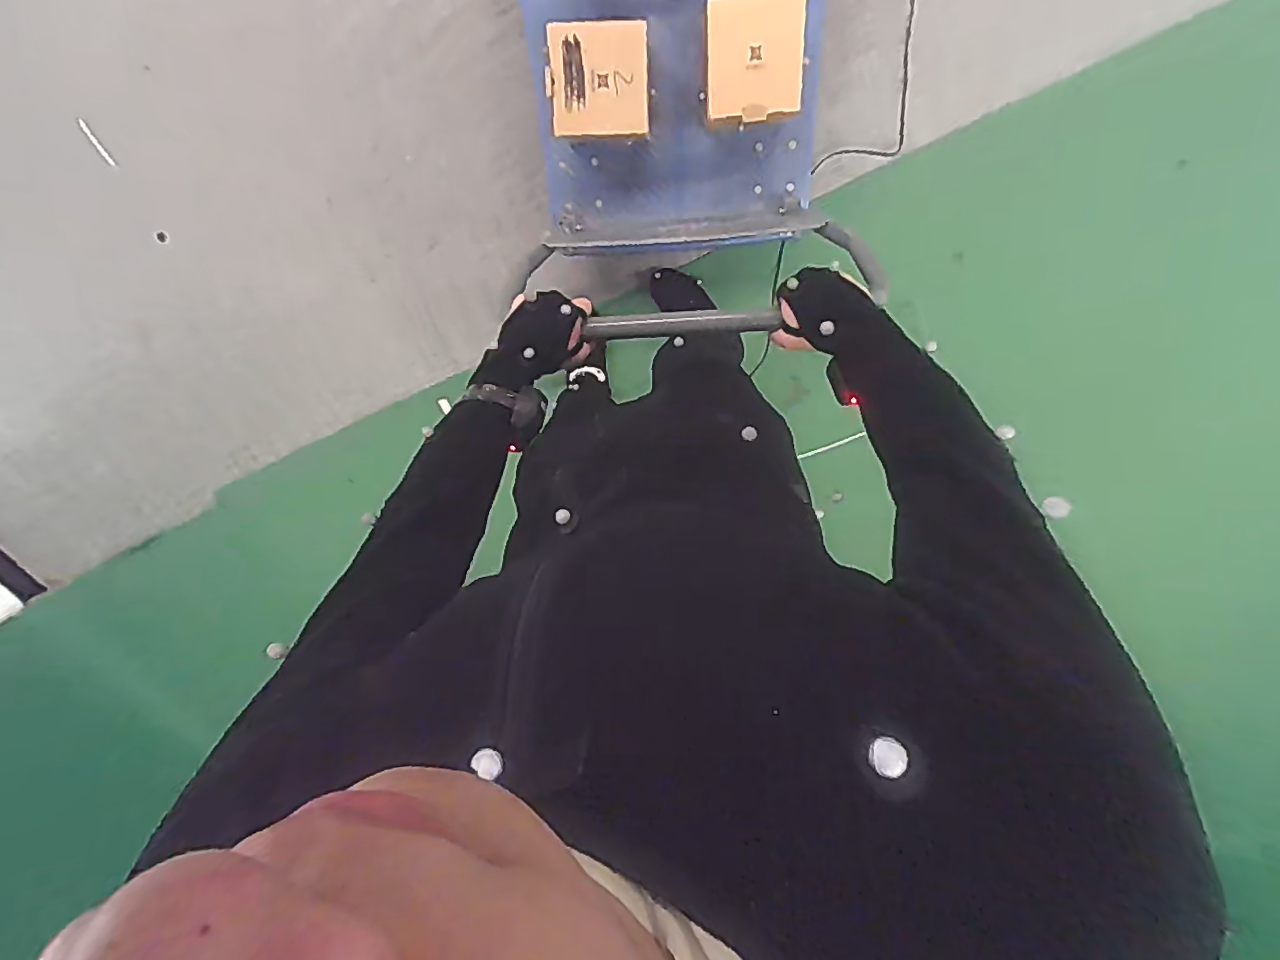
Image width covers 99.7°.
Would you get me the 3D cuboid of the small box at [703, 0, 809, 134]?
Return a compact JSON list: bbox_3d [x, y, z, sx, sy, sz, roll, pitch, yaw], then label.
[{"bbox_3d":[0.206,-0.761,1.008,0.168,0.176,0.179,-2,119,4],"label":"small box"}]
